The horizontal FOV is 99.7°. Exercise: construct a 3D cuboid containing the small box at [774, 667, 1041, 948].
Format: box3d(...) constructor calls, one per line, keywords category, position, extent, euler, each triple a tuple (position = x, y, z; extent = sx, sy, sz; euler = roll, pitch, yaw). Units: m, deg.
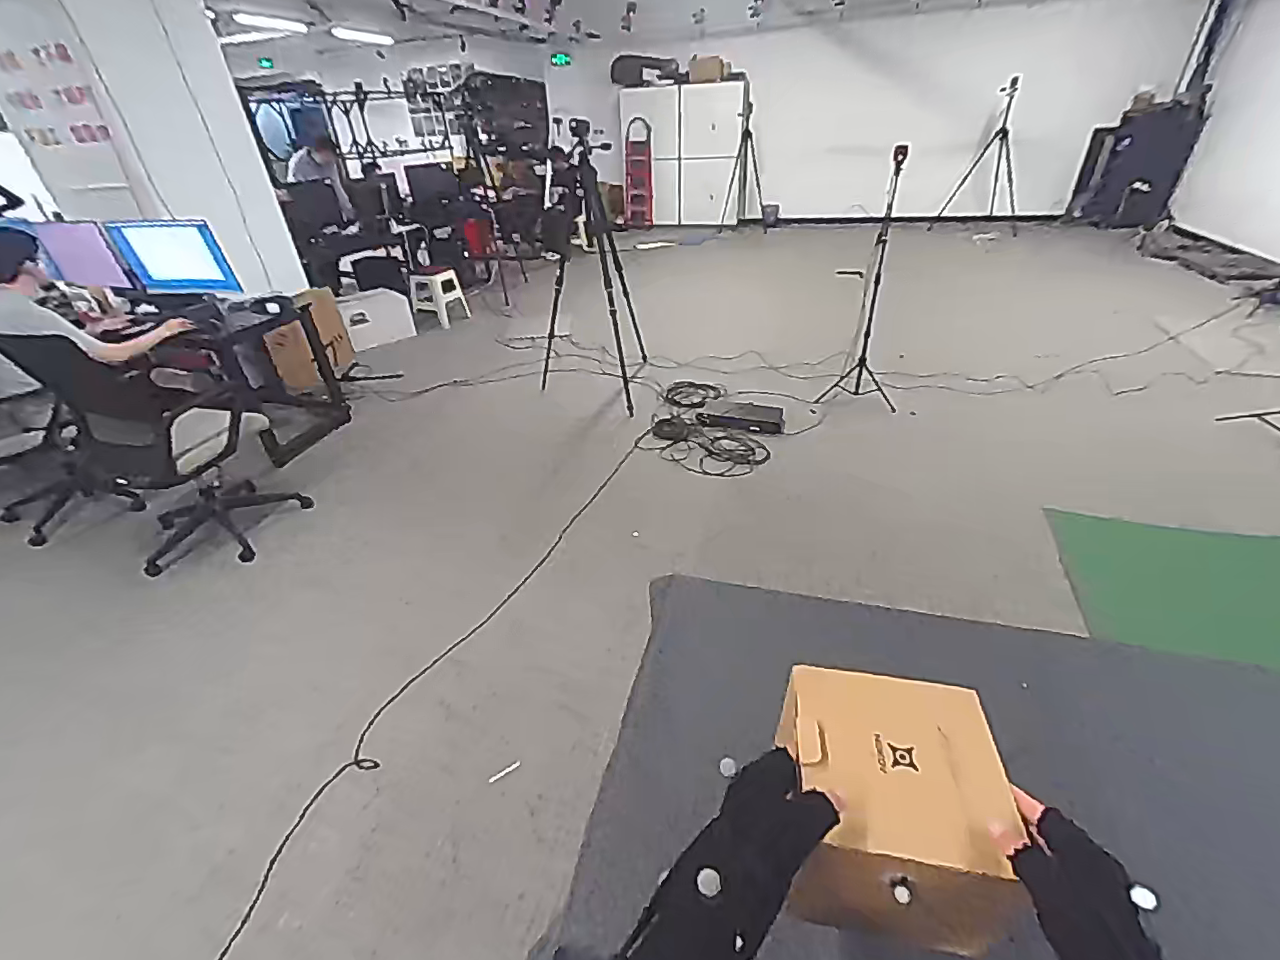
box3d(category="small box", position=(0.226, 0.311, 0.520), extent=(0.179, 0.176, 0.168), euler=(7, 36, 7))
